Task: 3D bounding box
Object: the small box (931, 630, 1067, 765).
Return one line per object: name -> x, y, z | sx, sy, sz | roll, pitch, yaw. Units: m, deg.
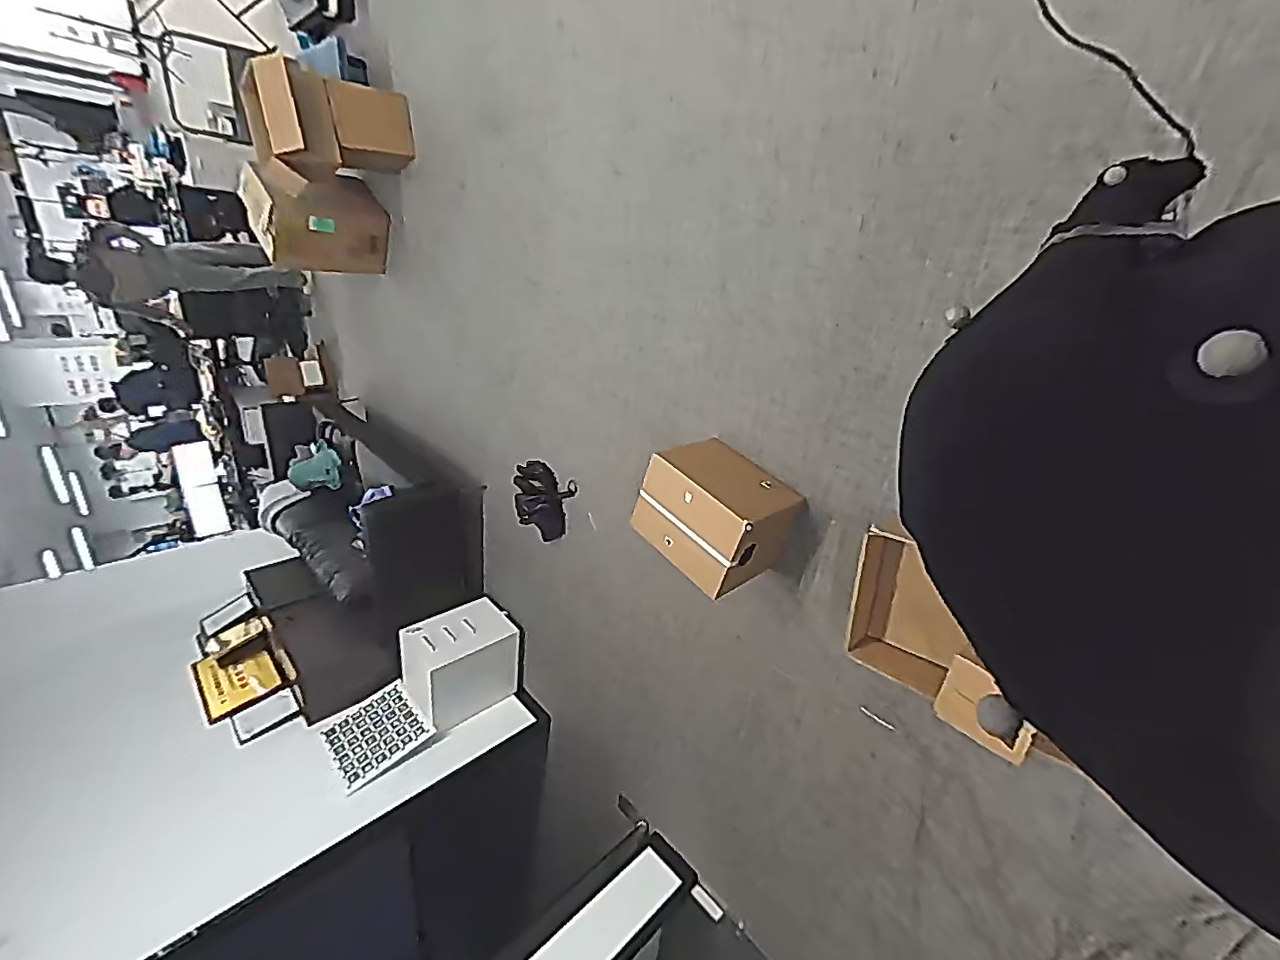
small box -> 0.760, 0.446, 1.142 | 0.179, 0.176, 0.168 | 29, 122, 41
